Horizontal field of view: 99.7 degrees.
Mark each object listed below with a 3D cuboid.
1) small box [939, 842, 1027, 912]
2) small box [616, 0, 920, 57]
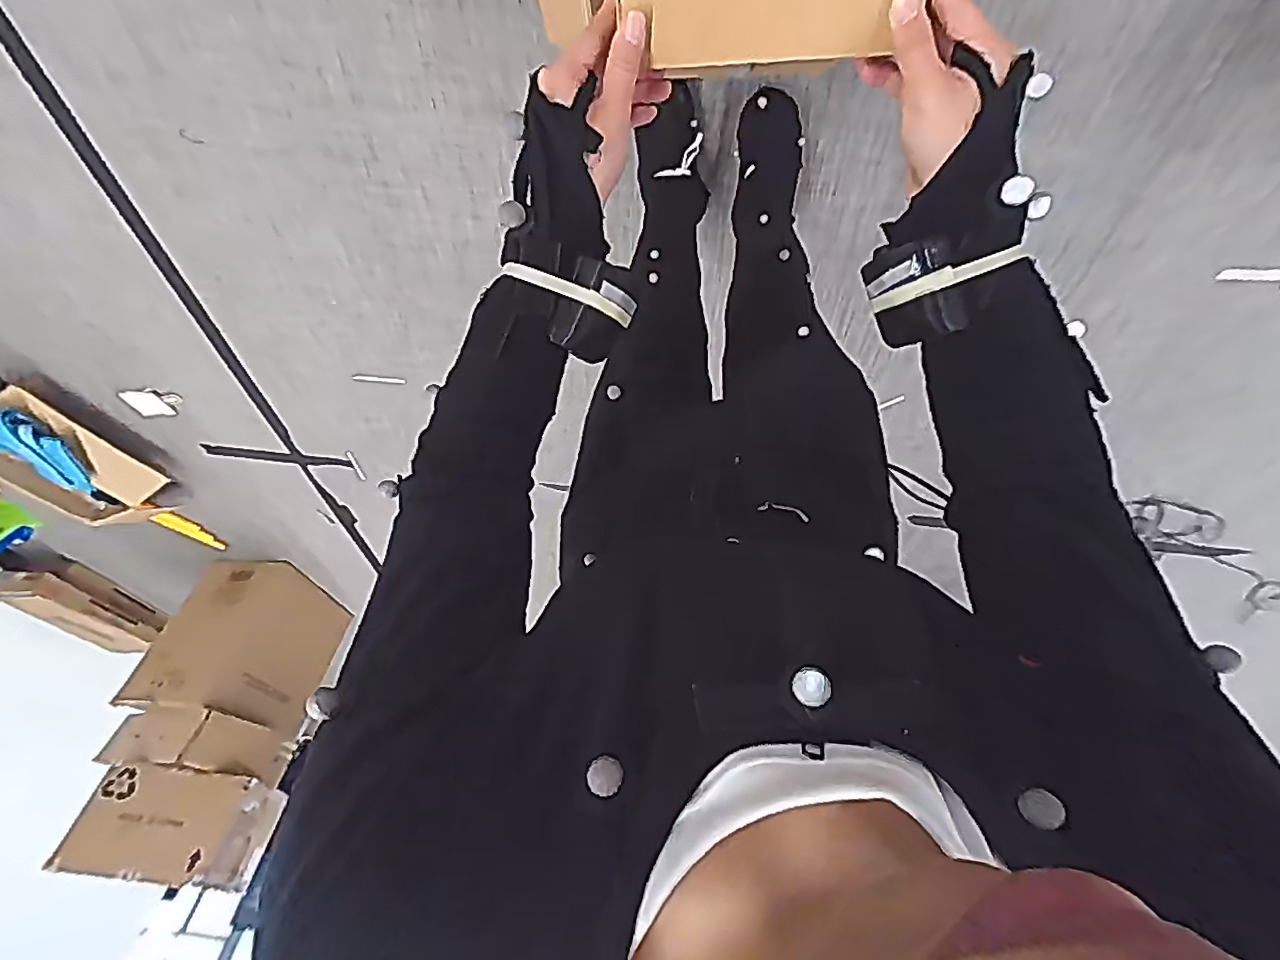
[{"bbox_3d":[1.139,1.332,1.815,0.168,0.176,0.179,9,139,-1],"label":"small box"},{"bbox_3d":[0.072,-0.373,0.312,0.179,0.176,0.168,0,142,4],"label":"small box"}]
